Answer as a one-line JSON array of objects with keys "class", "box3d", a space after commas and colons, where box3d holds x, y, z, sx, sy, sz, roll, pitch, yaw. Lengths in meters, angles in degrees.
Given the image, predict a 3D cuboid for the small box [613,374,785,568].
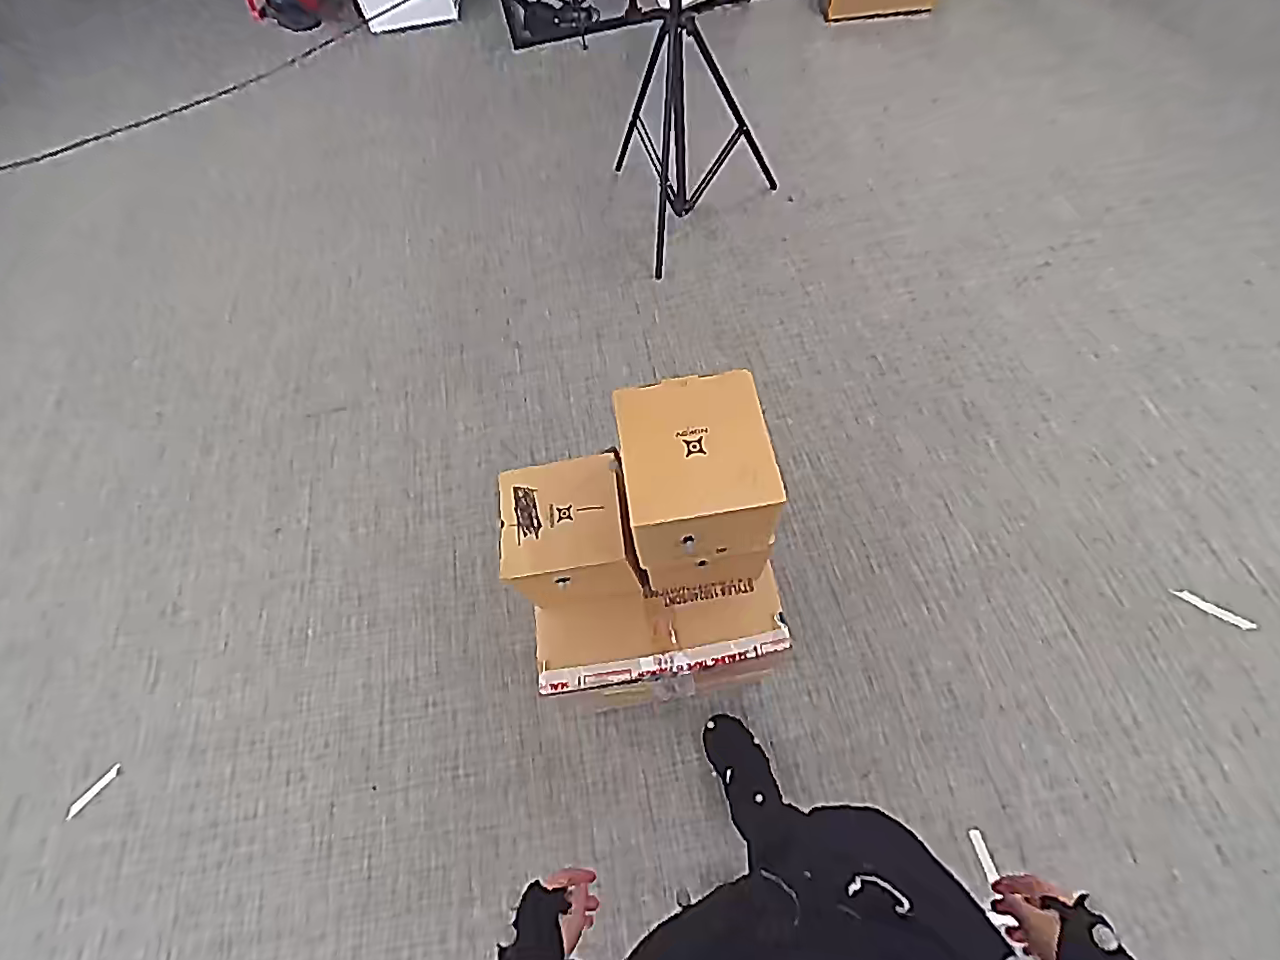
[{"class": "small box", "box3d": [0.068, 0.001, 0.666, 0.168, 0.176, 0.179, -10, 63, 1]}]
